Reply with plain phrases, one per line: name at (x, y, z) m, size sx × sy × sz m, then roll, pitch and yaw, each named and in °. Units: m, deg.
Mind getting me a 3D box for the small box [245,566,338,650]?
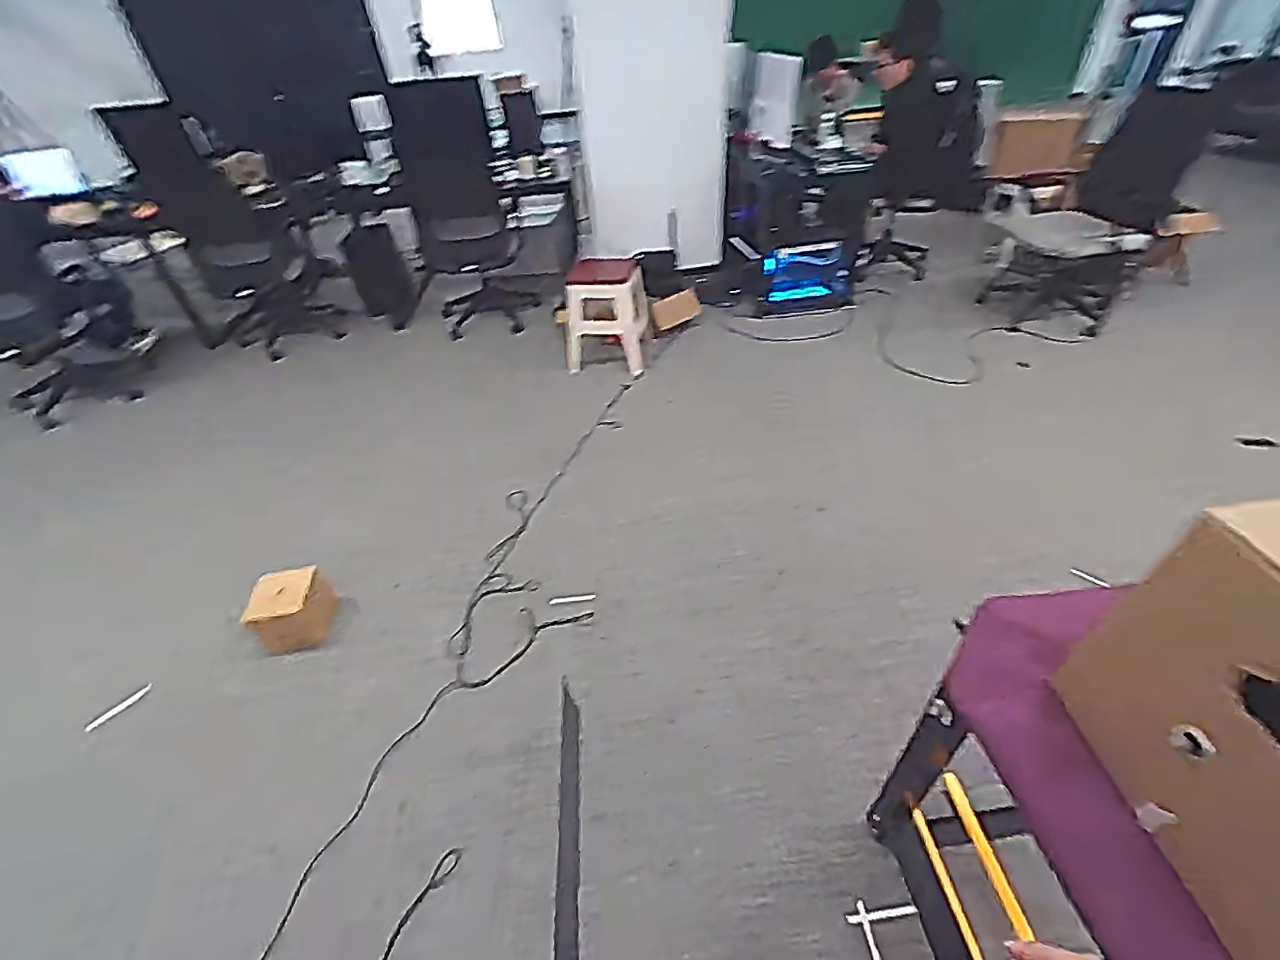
small box at (-1.070, 0.398, 1.680) m, size 0.168 × 0.176 × 0.179 m, roll -10°, pitch 41°, yaw -5°
